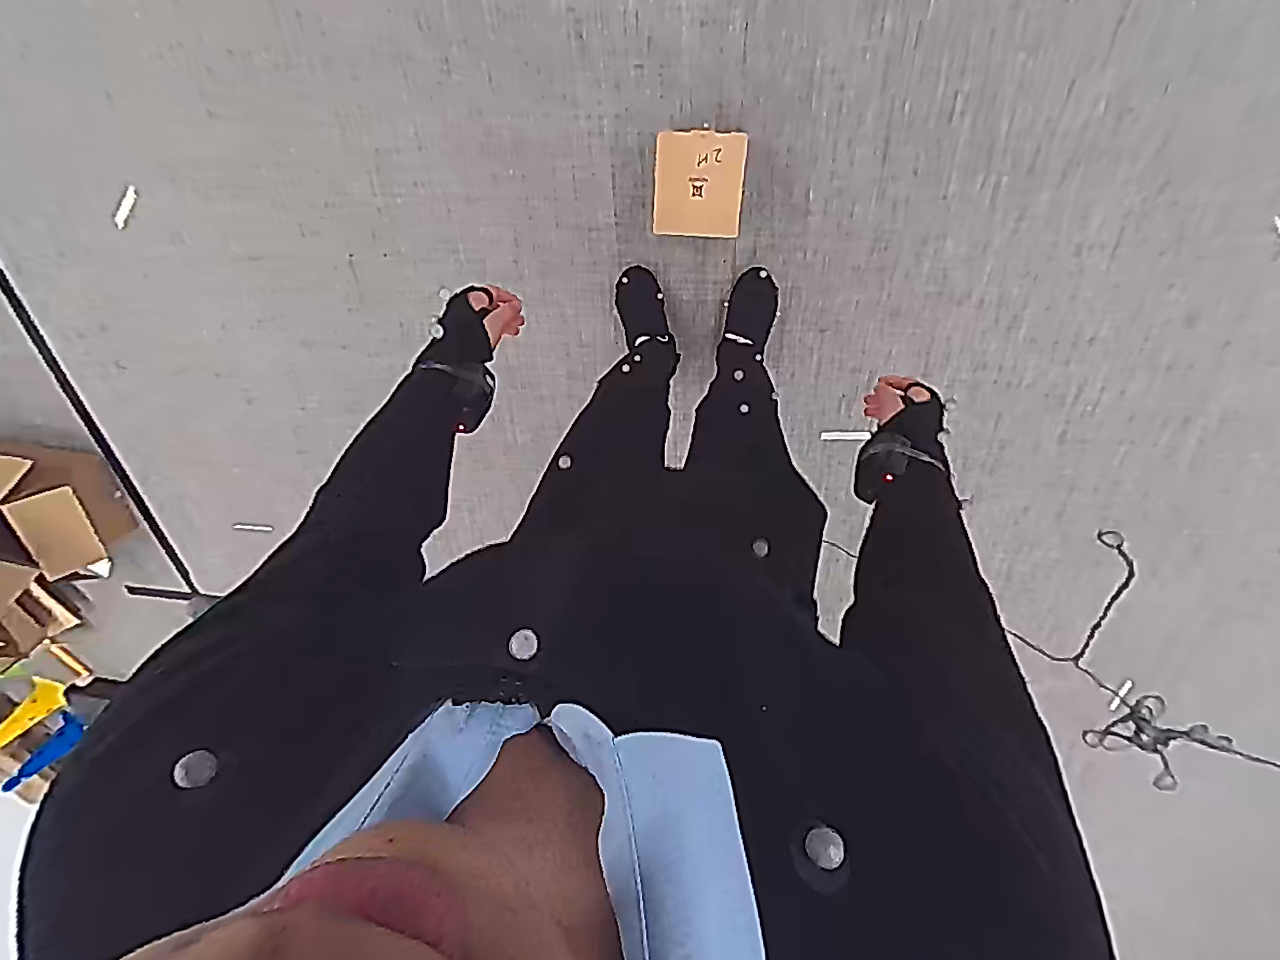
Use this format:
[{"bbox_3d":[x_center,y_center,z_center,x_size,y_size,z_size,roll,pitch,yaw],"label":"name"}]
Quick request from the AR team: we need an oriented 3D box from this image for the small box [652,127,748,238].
[{"bbox_3d":[0.120,-0.590,1.069,0.168,0.176,0.179,6,122,6],"label":"small box"}]
